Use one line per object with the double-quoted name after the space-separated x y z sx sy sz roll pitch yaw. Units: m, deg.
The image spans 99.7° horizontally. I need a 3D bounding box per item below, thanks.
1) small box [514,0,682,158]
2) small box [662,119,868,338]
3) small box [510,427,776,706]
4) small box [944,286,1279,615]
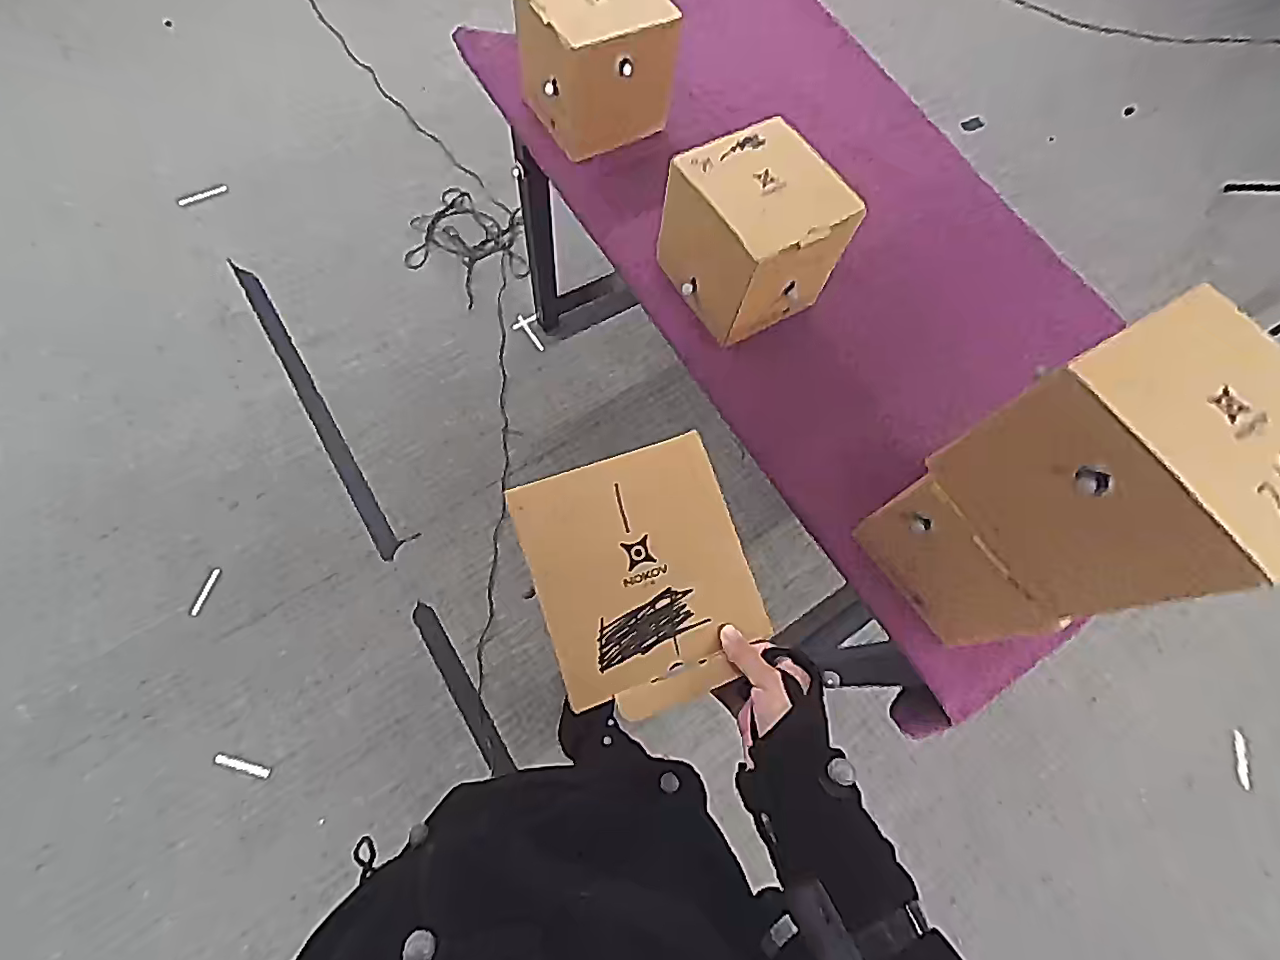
-0.064 -0.615 0.795 0.179 0.176 0.168 -29 77 -16 "small box"
0.146 -0.310 0.701 0.168 0.176 0.179 -29 75 -15 "small box"
-0.006 0.074 0.493 0.168 0.176 0.179 -19 82 -12 "small box"
0.396 -0.012 0.436 0.168 0.176 0.179 -28 74 -15 "small box"
